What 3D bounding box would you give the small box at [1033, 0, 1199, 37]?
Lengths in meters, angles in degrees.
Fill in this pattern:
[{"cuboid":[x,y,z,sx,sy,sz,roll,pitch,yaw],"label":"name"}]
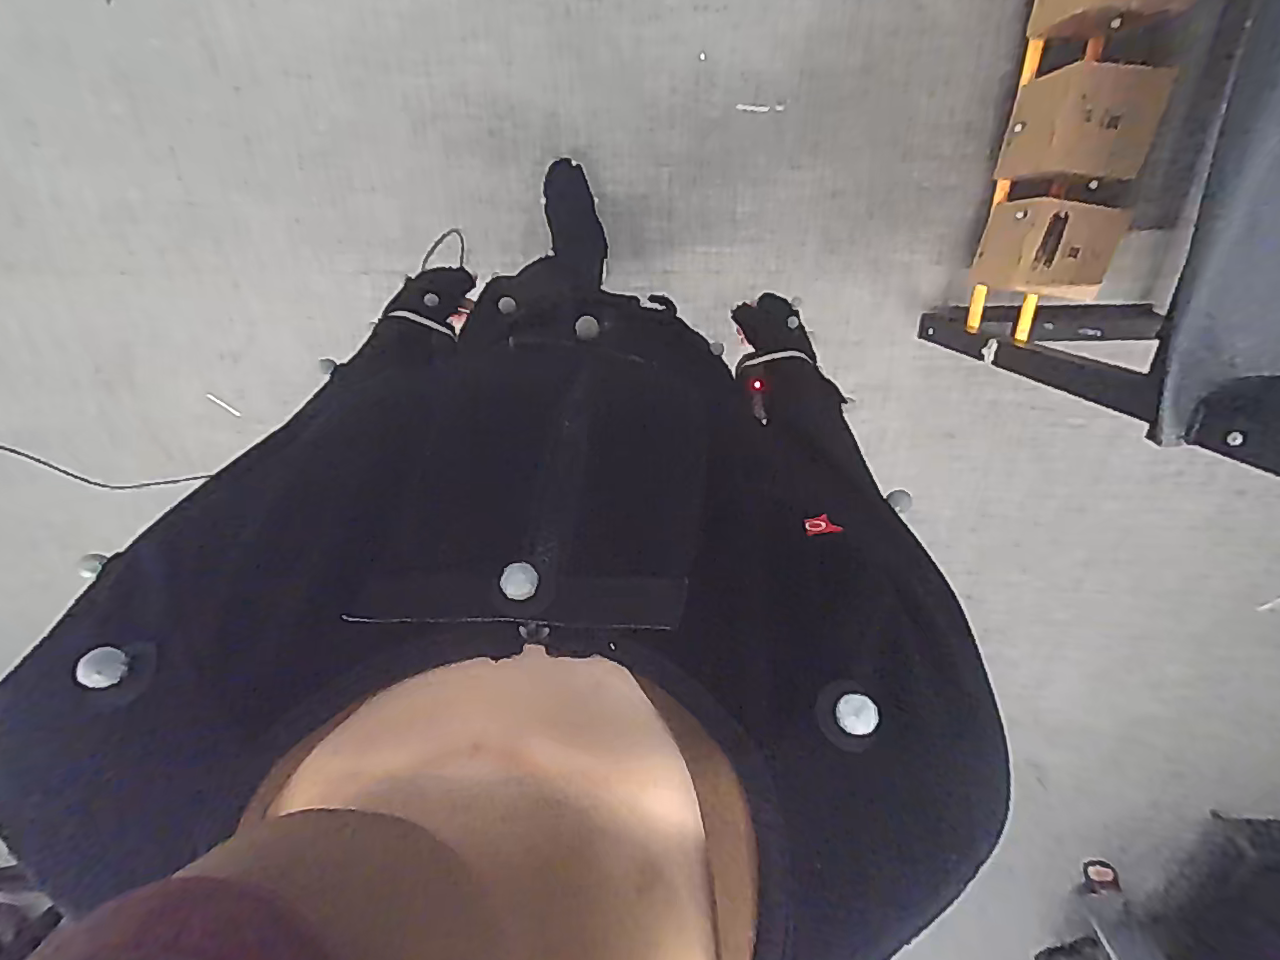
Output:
[{"cuboid":[0.829,-0.884,0.921,0.179,0.176,0.168,2,115,3],"label":"small box"}]
